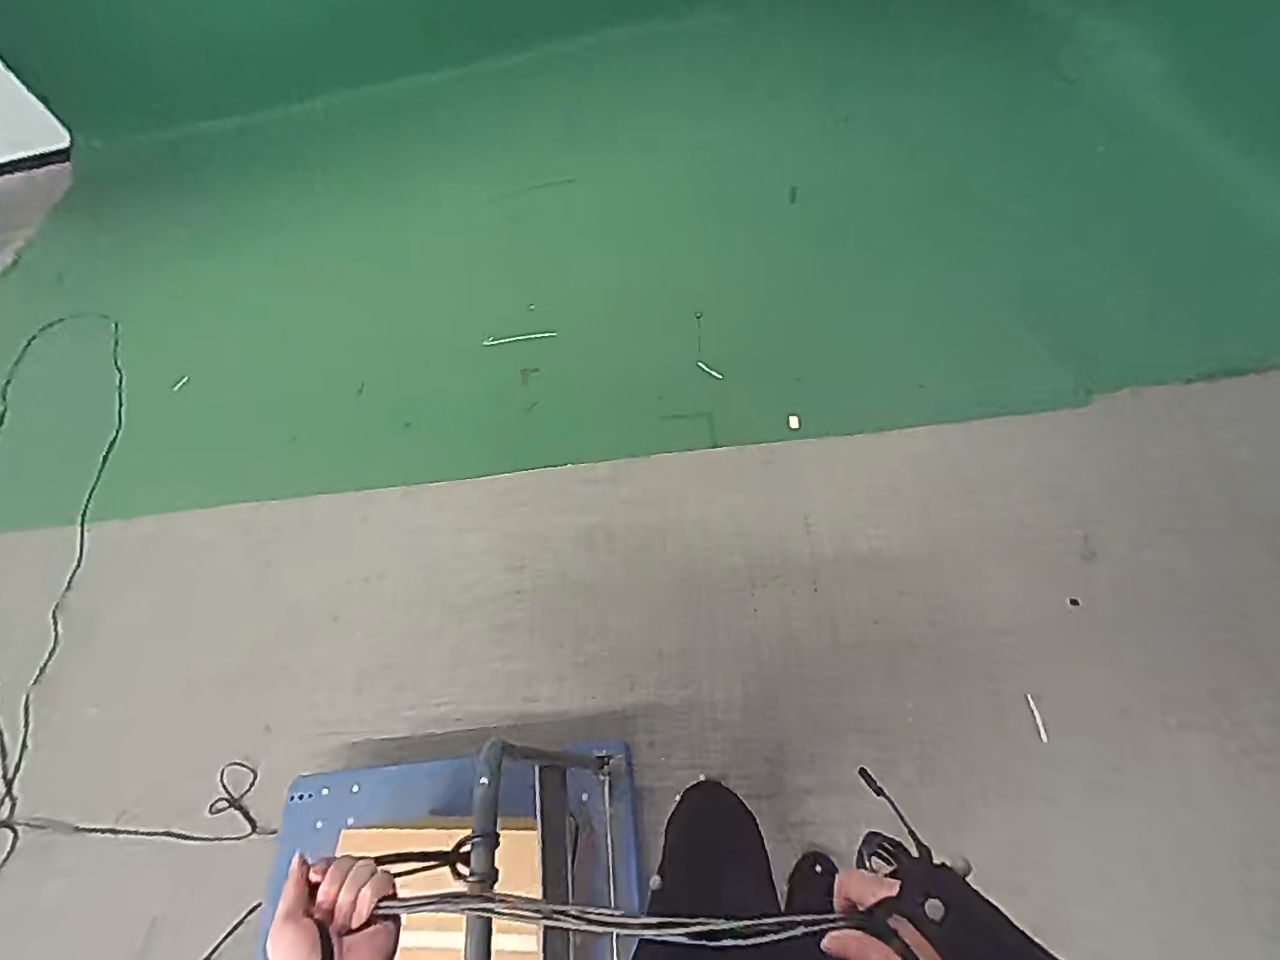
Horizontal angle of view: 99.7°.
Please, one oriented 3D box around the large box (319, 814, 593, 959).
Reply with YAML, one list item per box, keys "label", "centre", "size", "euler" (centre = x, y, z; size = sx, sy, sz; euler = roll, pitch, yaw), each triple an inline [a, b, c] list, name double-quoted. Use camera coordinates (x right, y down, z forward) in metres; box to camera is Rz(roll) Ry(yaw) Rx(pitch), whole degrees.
- label: "large box"
  centre: [-0.318, 0.832, 1.028]
  size: [0.408, 0.320, 0.320]
  euler: [-5, 61, 9]
